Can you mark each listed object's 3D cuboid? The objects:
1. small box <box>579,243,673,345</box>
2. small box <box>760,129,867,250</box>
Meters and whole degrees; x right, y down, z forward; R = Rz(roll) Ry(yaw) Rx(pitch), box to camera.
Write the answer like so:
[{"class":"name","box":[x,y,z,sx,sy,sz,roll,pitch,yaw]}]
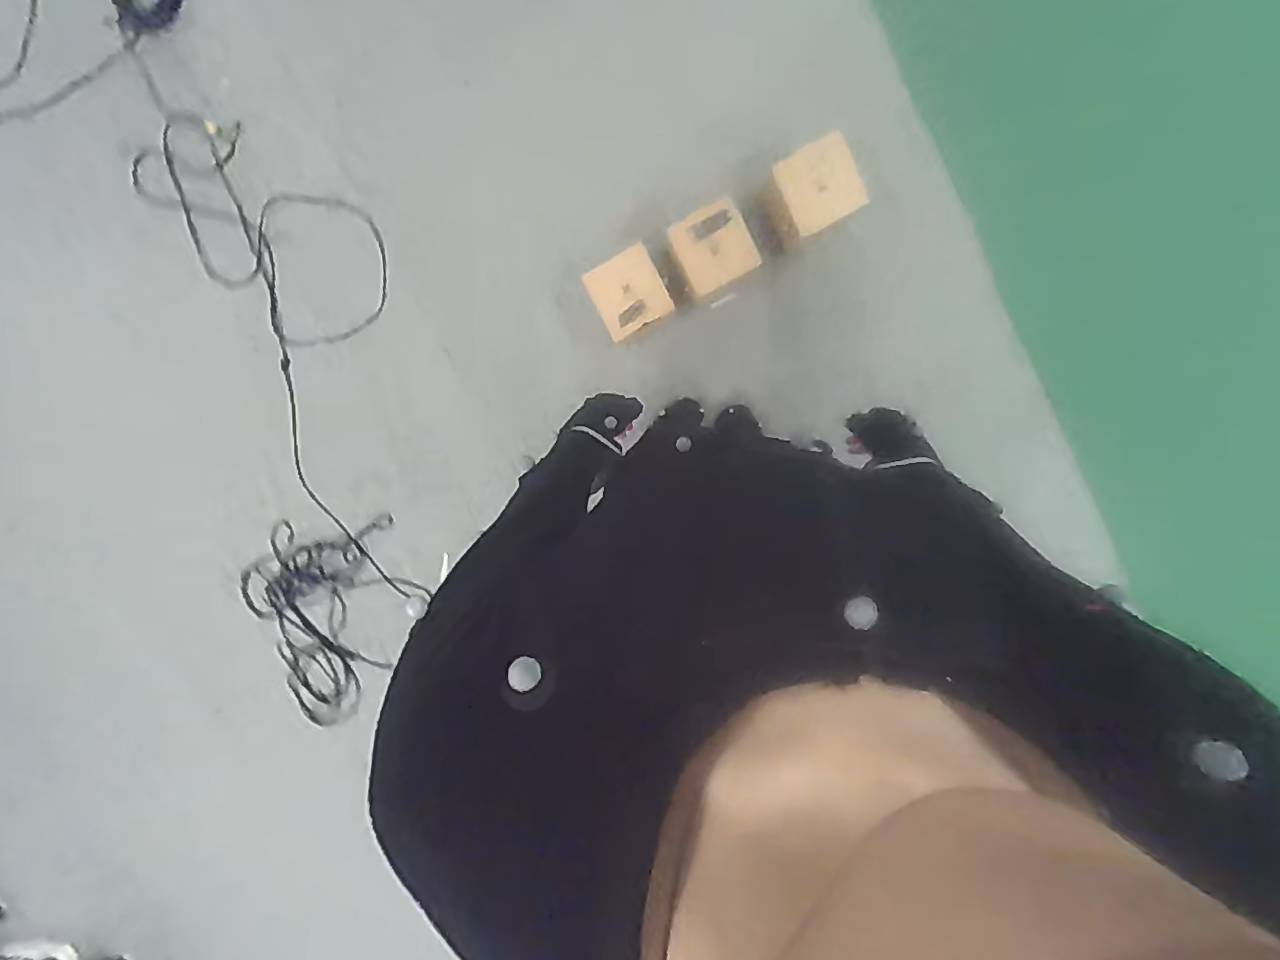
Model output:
[{"class":"small box","box":[-0.025,-0.447,1.336,0.168,0.176,0.179,-28,95,9]},{"class":"small box","box":[0.398,-0.665,1.269,0.168,0.176,0.179,-27,96,8]}]
